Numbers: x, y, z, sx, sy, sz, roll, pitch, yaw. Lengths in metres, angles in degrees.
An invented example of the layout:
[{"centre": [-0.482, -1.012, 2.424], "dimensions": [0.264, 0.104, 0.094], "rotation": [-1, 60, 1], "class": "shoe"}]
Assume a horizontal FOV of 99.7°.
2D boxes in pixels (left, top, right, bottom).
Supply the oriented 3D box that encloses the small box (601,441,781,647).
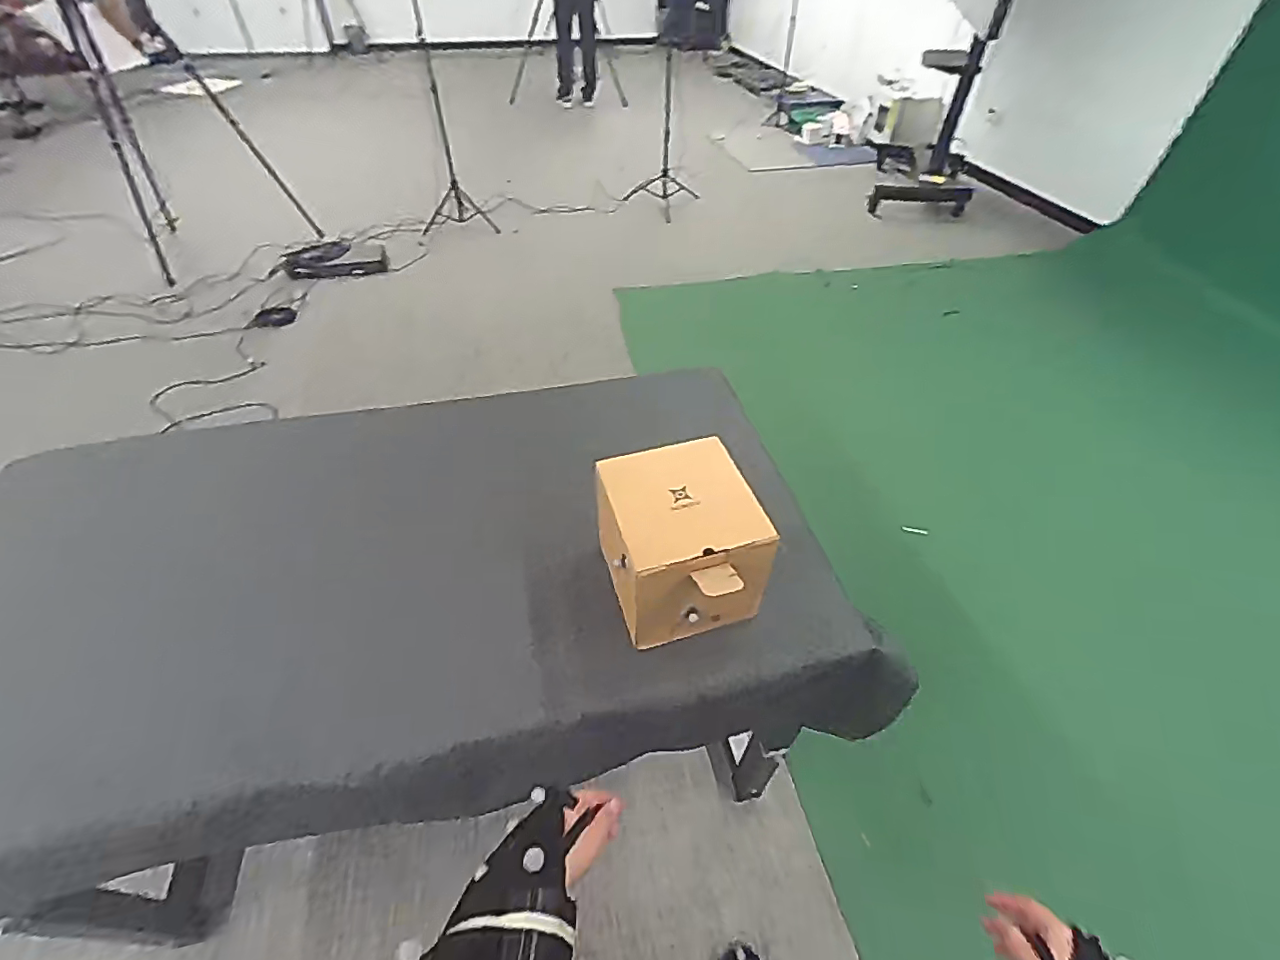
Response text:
[{"centre": [0.050, 0.079, 0.683], "dimensions": [0.168, 0.176, 0.179], "rotation": [-12, 48, -13], "class": "small box"}]
